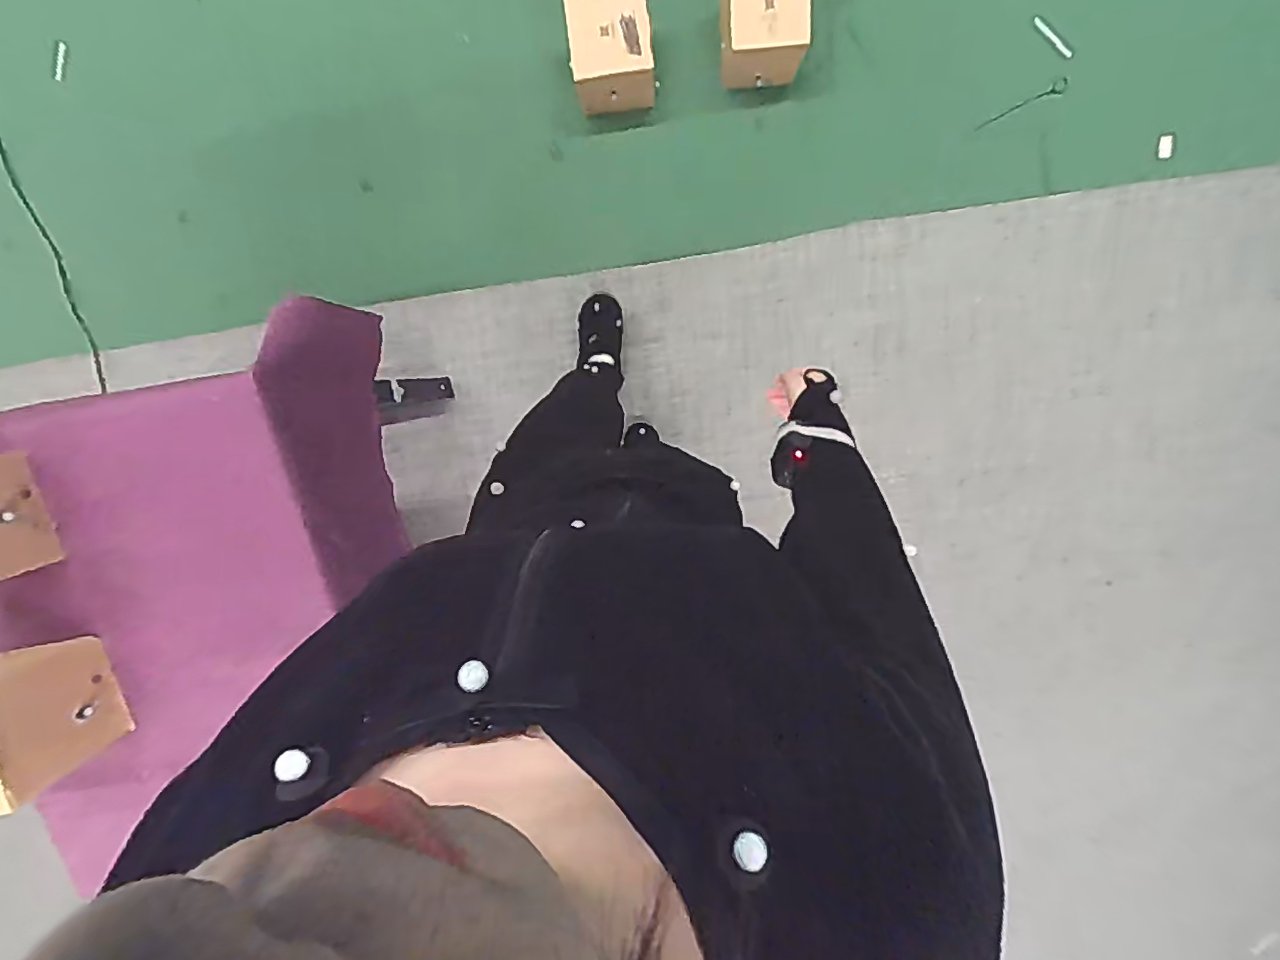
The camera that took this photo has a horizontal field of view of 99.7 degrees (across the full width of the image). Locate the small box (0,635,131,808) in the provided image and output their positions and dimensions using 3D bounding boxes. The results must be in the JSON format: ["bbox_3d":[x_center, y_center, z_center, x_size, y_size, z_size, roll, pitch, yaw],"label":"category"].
[{"bbox_3d":[-0.903,0.342,0.770,0.179,0.176,0.168,-11,101,3],"label":"small box"}]

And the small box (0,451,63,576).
[{"bbox_3d":[-0.948,0.062,0.711,0.179,0.176,0.168,-9,102,1],"label":"small box"}]

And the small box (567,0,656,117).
[{"bbox_3d":[-0.056,-0.956,1.222,0.179,0.176,0.168,-6,100,5],"label":"small box"}]
